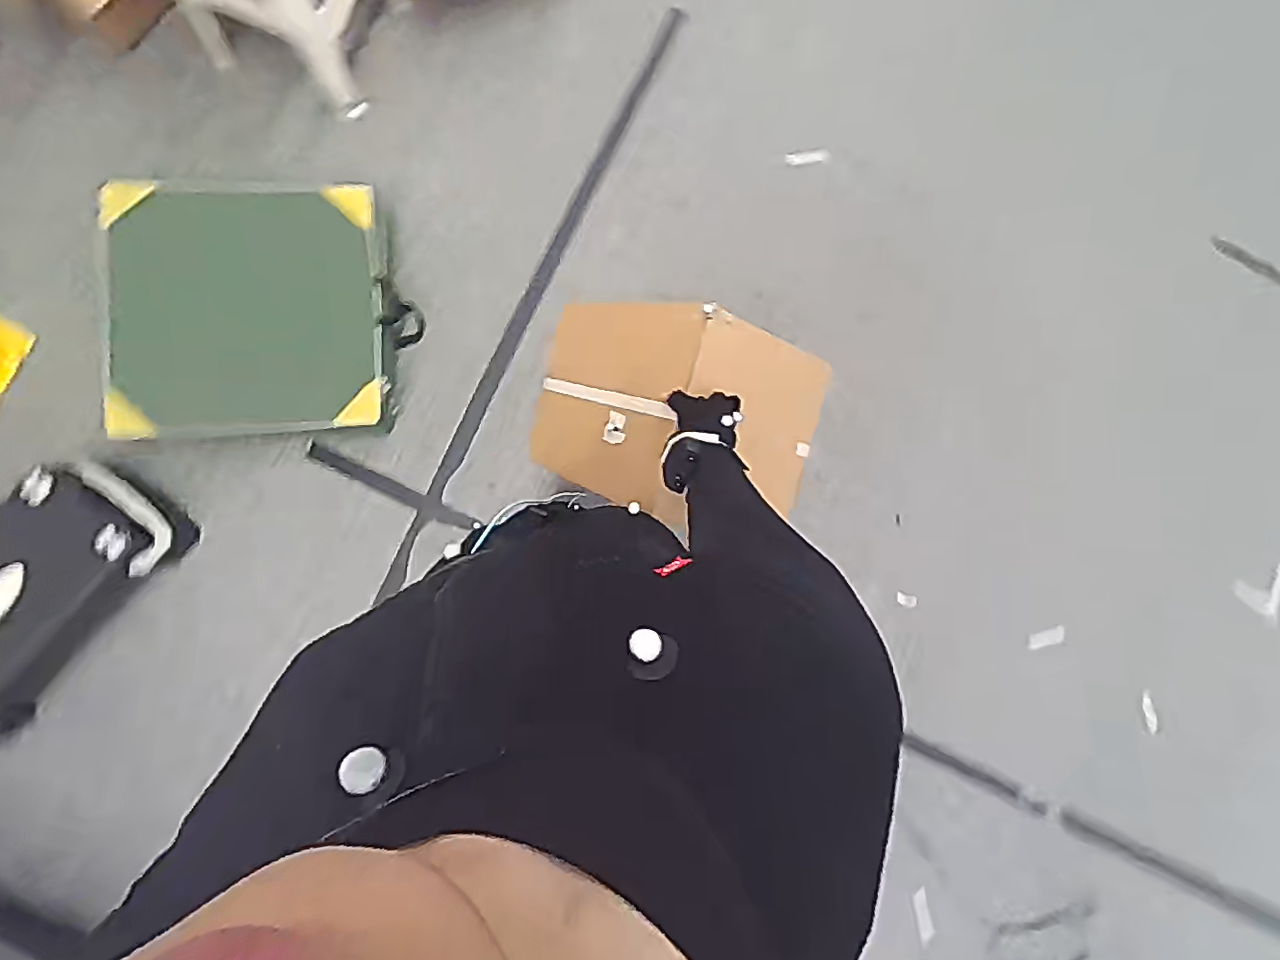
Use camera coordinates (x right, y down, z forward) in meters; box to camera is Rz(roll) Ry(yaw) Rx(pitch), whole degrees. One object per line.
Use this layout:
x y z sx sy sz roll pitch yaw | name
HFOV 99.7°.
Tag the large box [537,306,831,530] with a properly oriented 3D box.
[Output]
0.065 -0.120 1.005 0.320 0.408 0.320 8 100 -40 | large box
